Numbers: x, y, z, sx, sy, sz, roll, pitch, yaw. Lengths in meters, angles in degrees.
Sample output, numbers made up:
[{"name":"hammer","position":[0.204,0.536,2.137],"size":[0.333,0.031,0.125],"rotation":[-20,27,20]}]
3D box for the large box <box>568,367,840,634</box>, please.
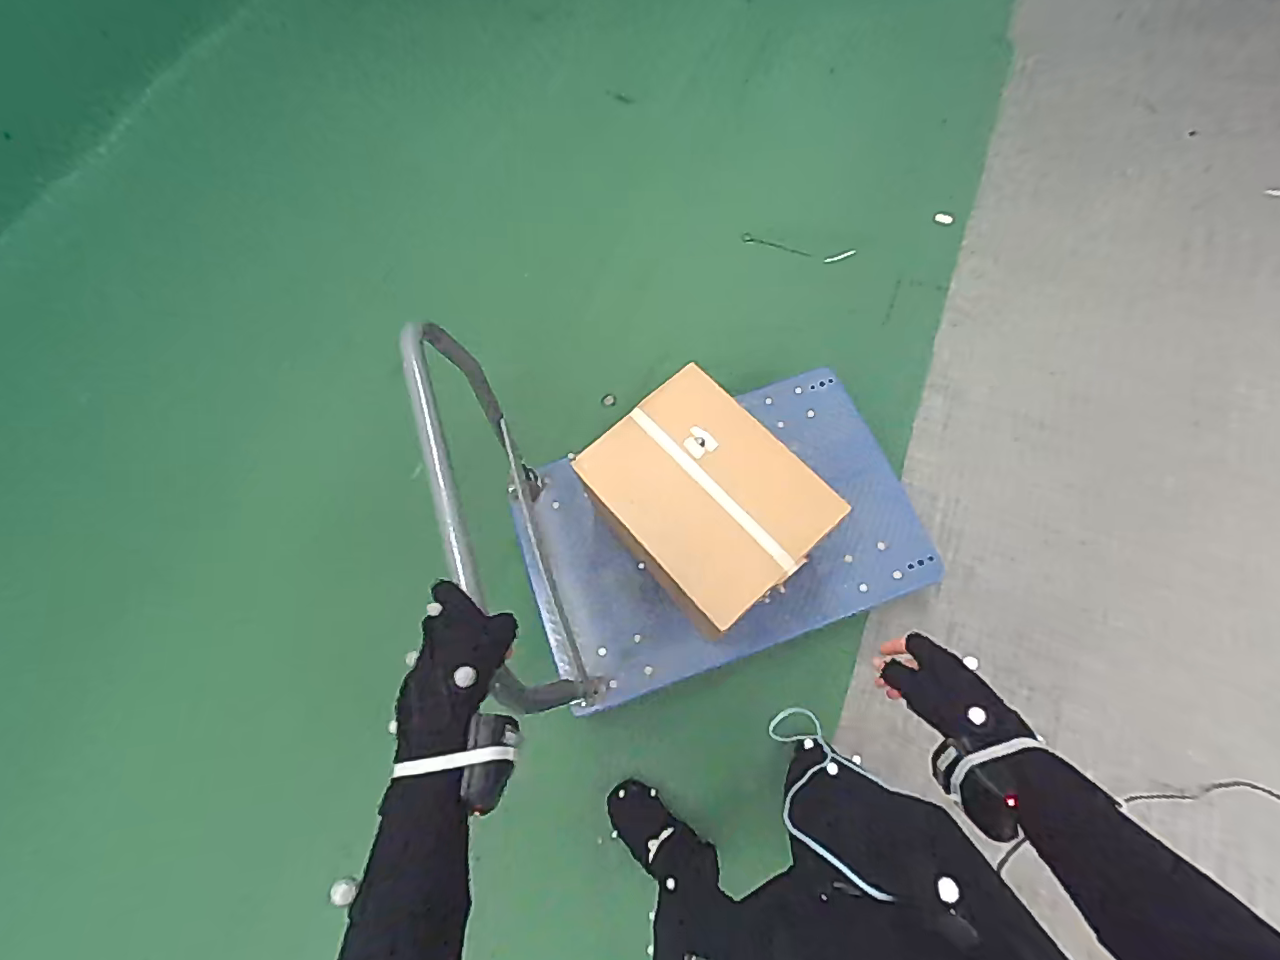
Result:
[{"name":"large box","position":[0.123,0.057,1.113],"size":[0.320,0.320,0.408],"rotation":[-41,72,-10]}]
